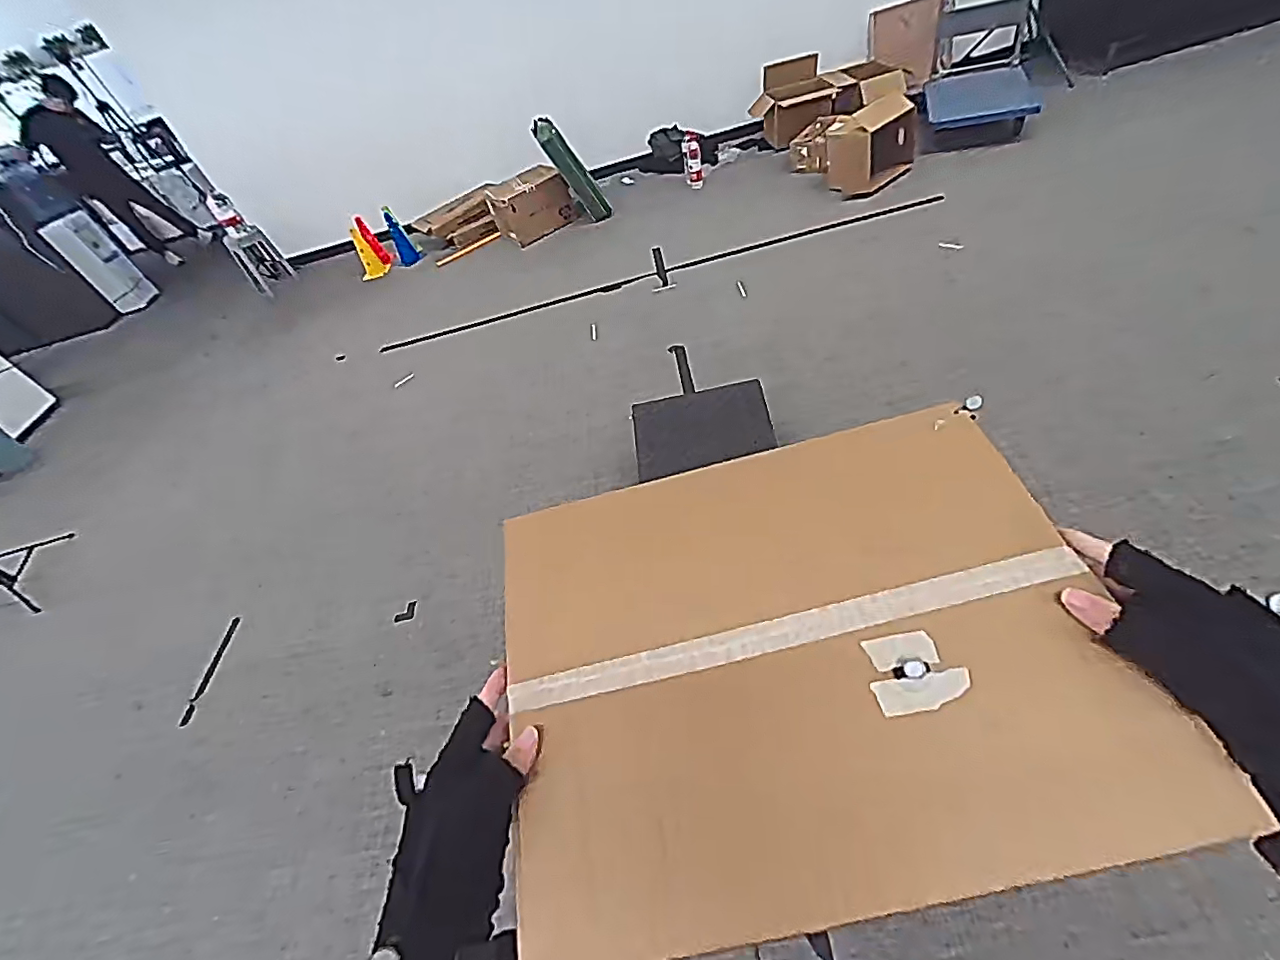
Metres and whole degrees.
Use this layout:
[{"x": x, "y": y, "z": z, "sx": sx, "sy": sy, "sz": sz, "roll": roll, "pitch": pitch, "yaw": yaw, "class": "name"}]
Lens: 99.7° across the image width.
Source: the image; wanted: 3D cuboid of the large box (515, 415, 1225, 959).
[{"x": 0.131, "y": 0.198, "z": 0.509, "sx": 0.408, "sy": 0.320, "sz": 0.320, "roll": -15, "pitch": 54, "yaw": 2, "class": "large box"}]
